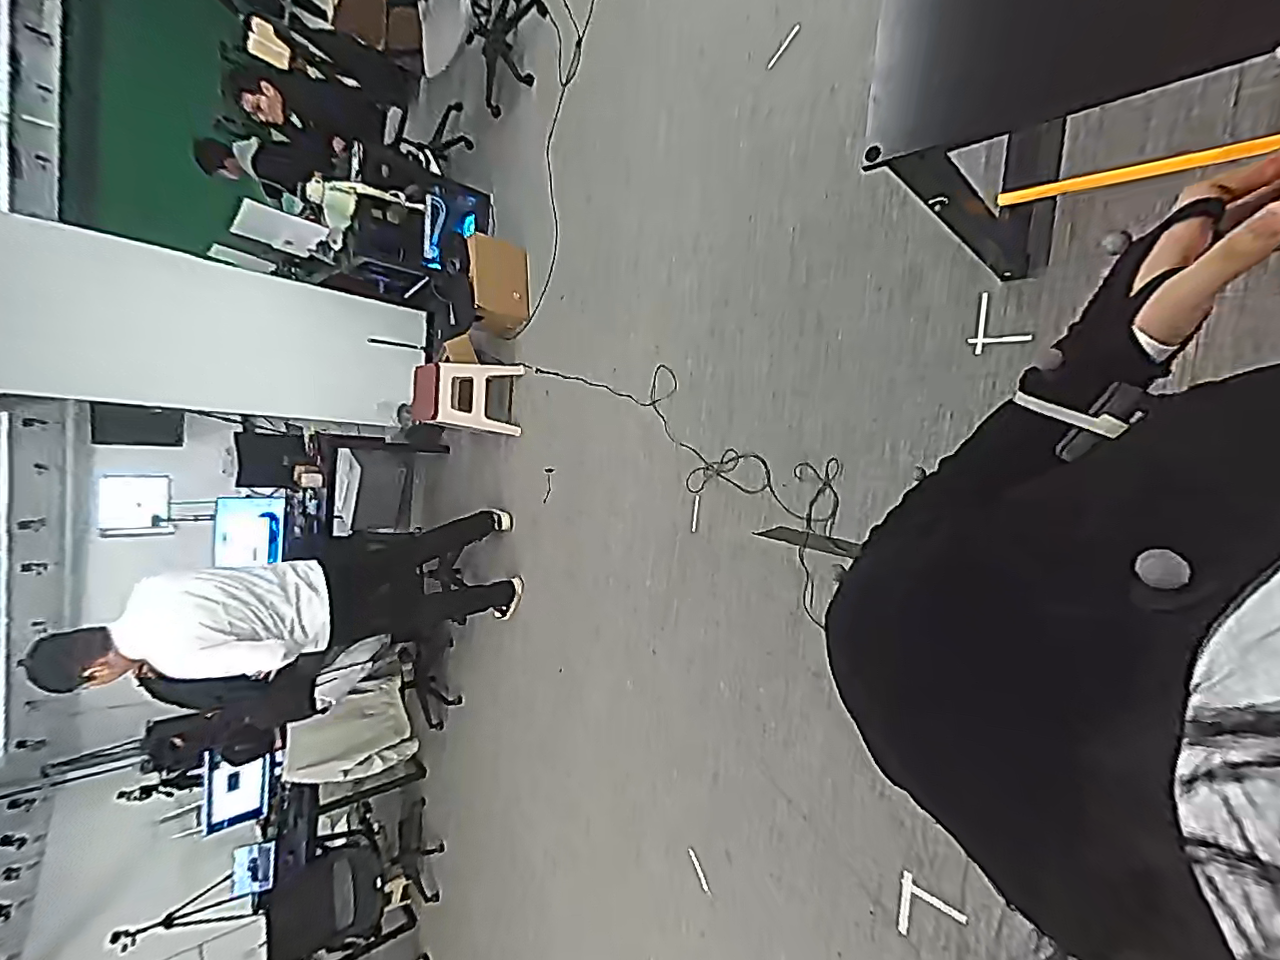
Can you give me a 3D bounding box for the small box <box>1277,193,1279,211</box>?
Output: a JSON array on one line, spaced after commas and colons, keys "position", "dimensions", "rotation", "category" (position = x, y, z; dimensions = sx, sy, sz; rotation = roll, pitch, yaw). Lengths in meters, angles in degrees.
[{"position": [0.425, -0.215, 0.241], "dimensions": [0.168, 0.176, 0.179], "rotation": [9, 107, 47], "category": "small box"}]
